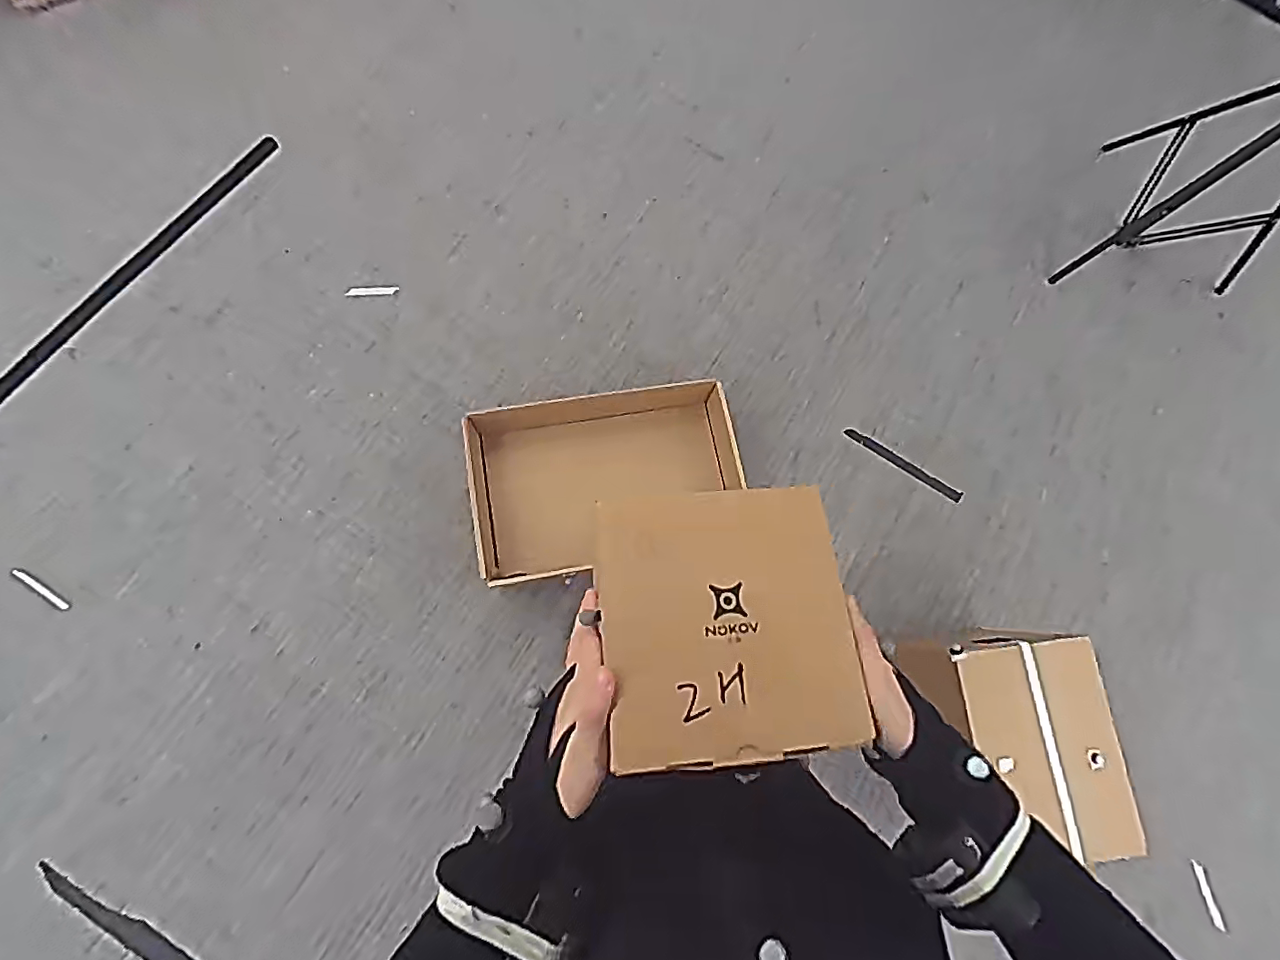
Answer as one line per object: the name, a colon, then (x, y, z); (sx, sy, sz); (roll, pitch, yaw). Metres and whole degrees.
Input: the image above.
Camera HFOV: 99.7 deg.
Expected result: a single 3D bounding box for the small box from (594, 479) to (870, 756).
small box: (0.050, 0.113, 0.434); (0.168, 0.176, 0.179); (-3, 68, -6)
